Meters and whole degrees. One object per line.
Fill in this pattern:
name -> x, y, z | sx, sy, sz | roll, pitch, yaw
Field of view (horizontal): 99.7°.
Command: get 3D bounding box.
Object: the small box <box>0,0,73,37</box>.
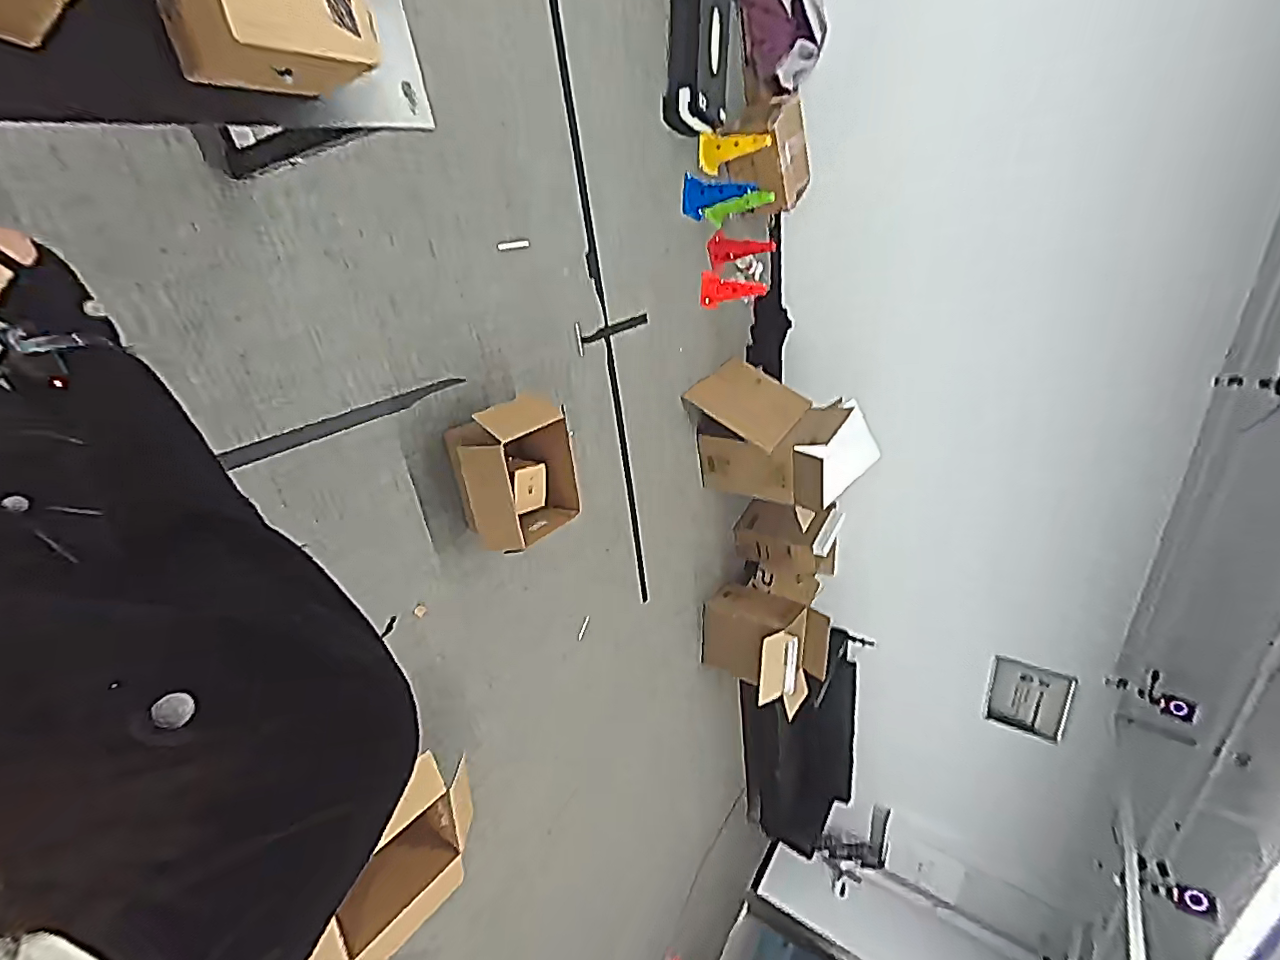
small box -> -0.620, -0.505, 0.441 | 0.179, 0.176, 0.168 | -20, 115, -51

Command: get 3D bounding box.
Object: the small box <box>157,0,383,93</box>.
small box -> -0.454, -0.589, 0.651 | 0.179, 0.176, 0.168 | -34, 125, -44
